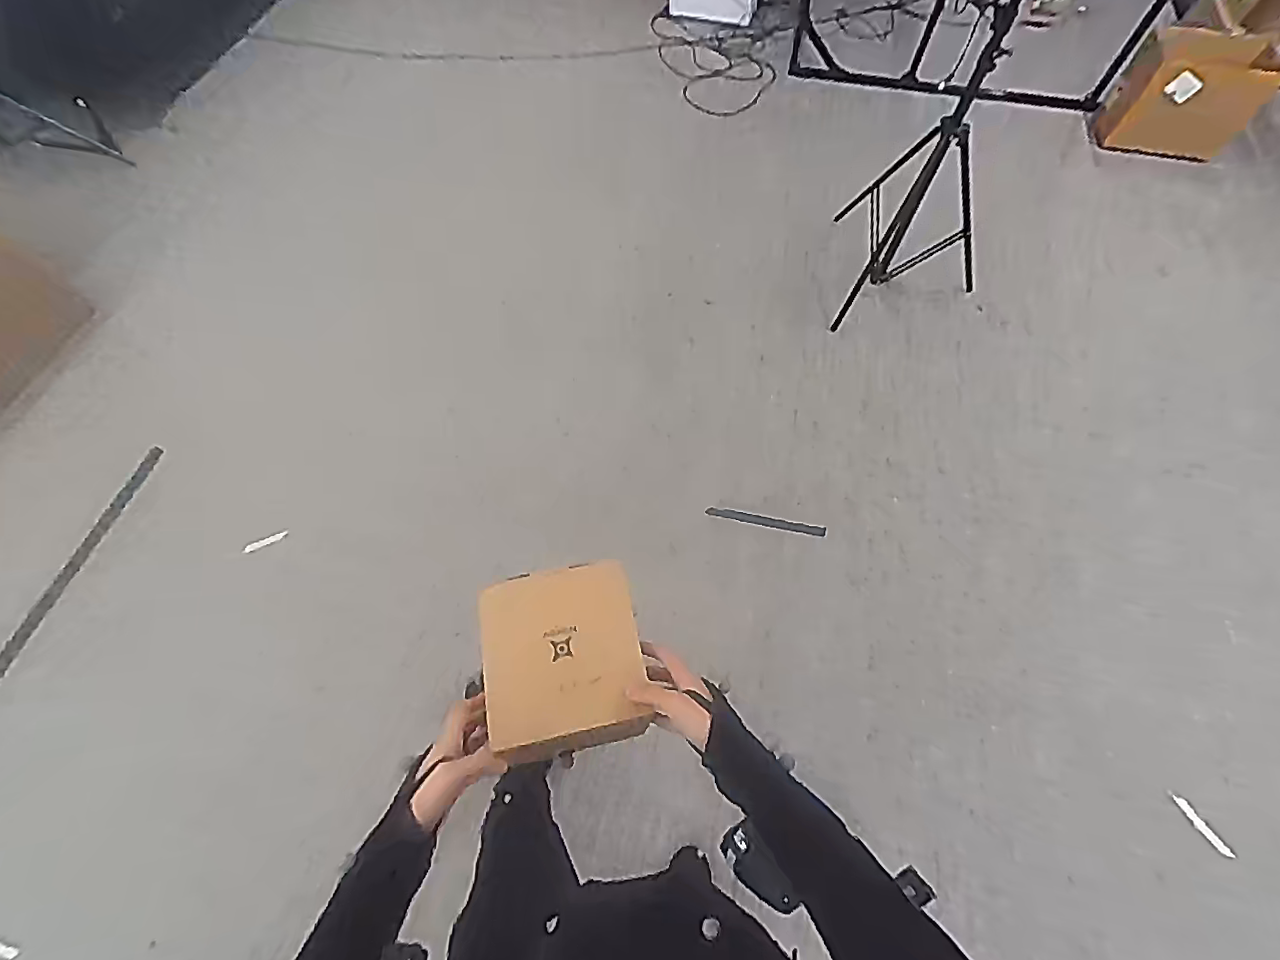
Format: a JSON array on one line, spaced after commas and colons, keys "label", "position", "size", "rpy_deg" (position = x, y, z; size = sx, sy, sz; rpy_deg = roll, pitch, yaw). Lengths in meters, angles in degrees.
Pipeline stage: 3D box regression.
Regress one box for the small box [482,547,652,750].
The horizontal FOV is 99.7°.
[{"label": "small box", "position": [-0.089, 0.203, 0.644], "size": [0.168, 0.176, 0.179], "rpy_deg": [-8, 58, -9]}]
